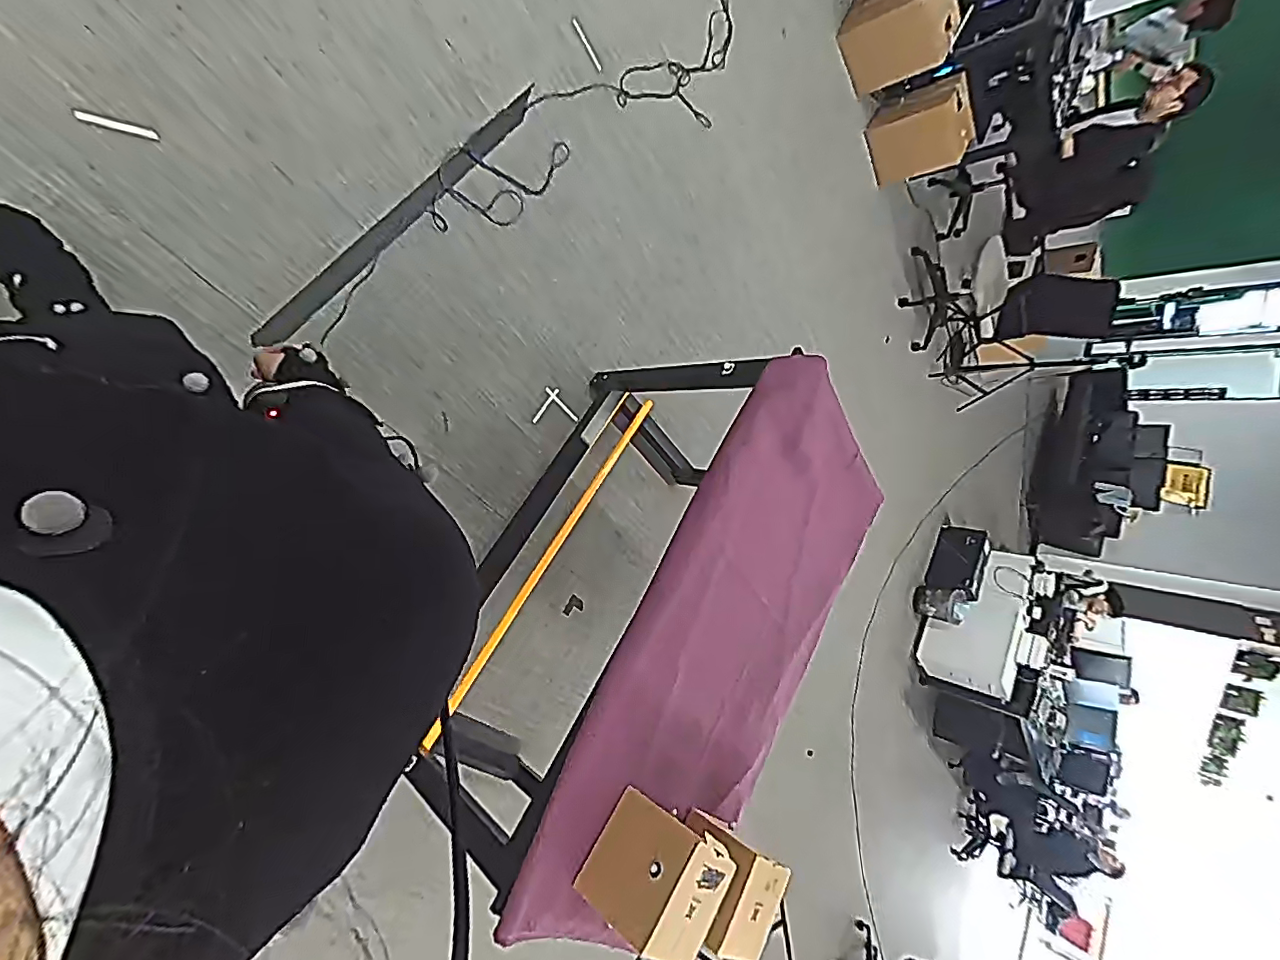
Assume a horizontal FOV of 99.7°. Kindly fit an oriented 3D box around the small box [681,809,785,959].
[{"bbox_3d":[0.155,0.803,1.077,0.168,0.176,0.179,48,63,-36],"label":"small box"}]

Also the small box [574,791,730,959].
[{"bbox_3d":[0.021,0.678,0.929,0.179,0.176,0.168,-54,129,-25],"label":"small box"}]
